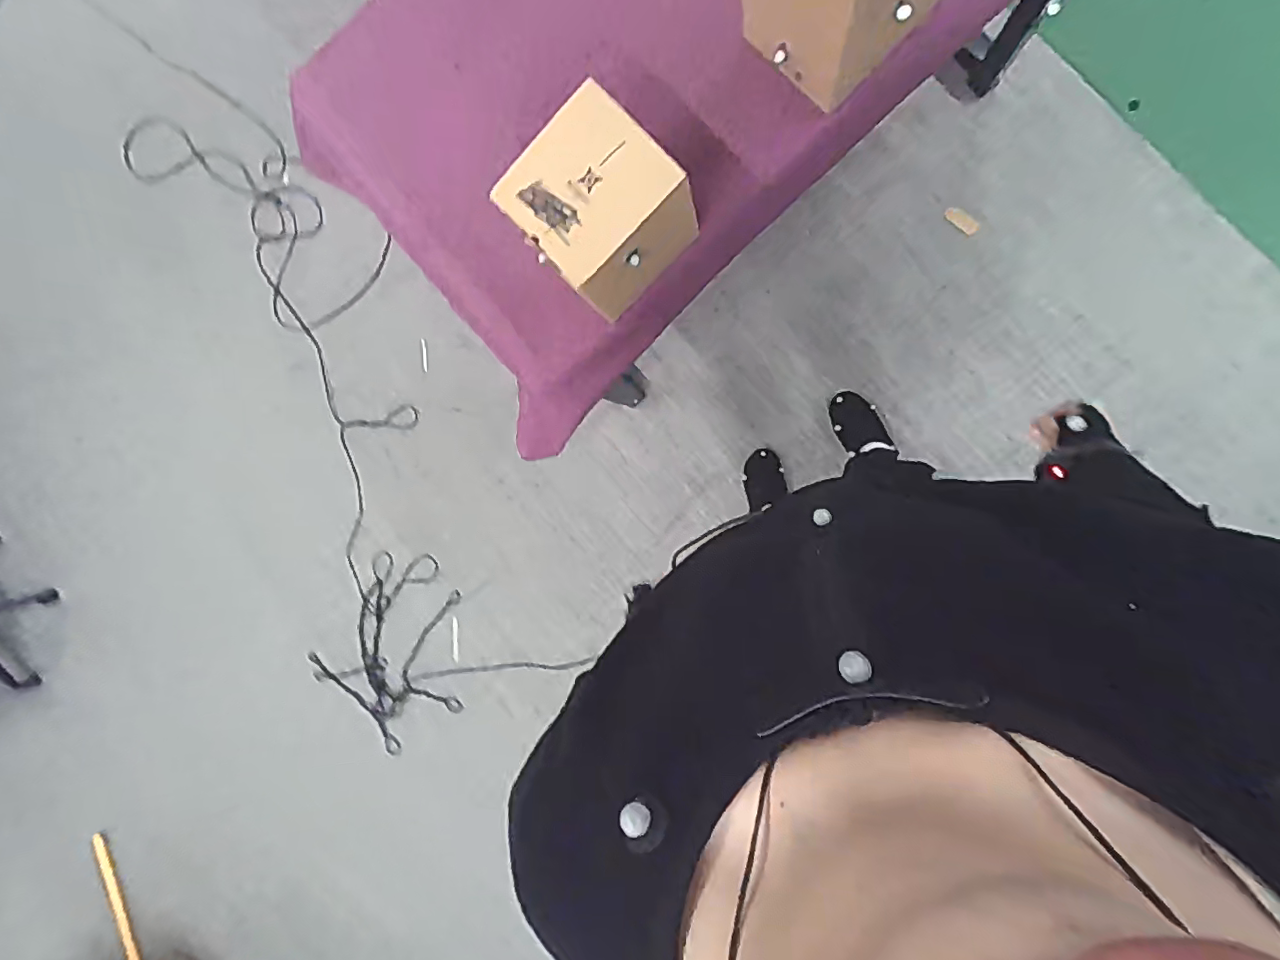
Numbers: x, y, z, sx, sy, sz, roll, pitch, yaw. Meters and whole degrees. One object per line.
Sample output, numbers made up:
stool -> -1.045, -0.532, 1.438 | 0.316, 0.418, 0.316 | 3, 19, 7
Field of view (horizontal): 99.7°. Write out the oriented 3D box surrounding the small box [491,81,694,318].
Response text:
small box -> -0.048, -0.338, 0.694 | 0.179, 0.176, 0.168 | -43, 83, 10
